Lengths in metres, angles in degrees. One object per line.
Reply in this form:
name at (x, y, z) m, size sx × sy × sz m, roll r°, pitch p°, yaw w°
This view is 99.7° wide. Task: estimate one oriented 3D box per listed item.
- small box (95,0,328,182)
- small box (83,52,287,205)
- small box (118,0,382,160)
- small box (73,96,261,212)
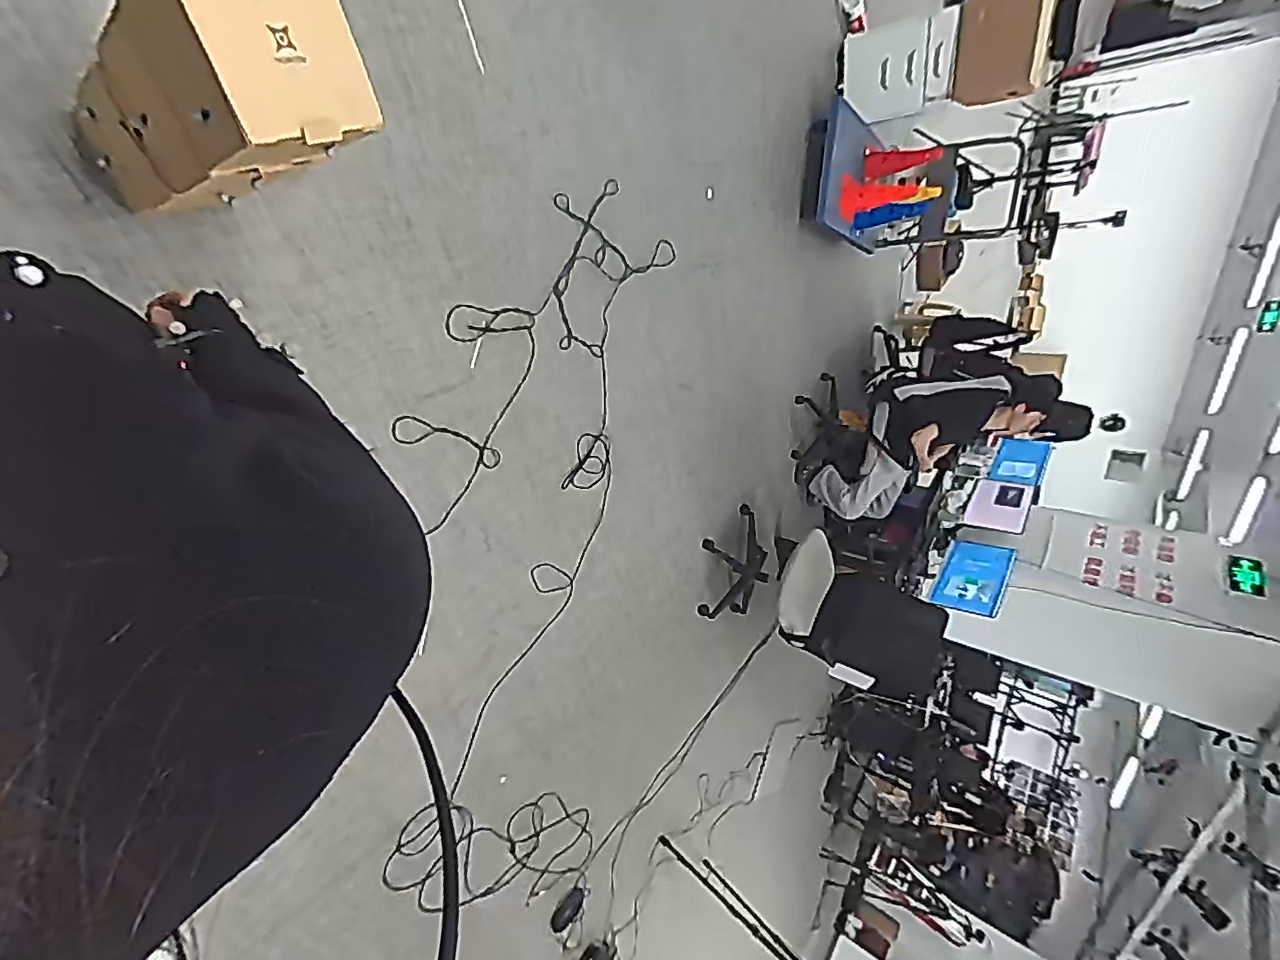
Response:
small box at (-0.570, -0.514, 0.729) m, size 0.168 × 0.176 × 0.179 m, roll -41°, pitch 131°, yaw -38°
small box at (-0.697, -0.537, 0.831) m, size 0.179 × 0.176 × 0.168 m, roll -43°, pitch 131°, yaw -37°
small box at (-0.446, -0.489, 0.628) m, size 0.168 × 0.176 × 0.179 m, roll -42°, pitch 130°, yaw -37°
small box at (-0.816, -0.577, 0.936) m, size 0.179 × 0.176 × 0.168 m, roll -40°, pitch 129°, yaw -38°
